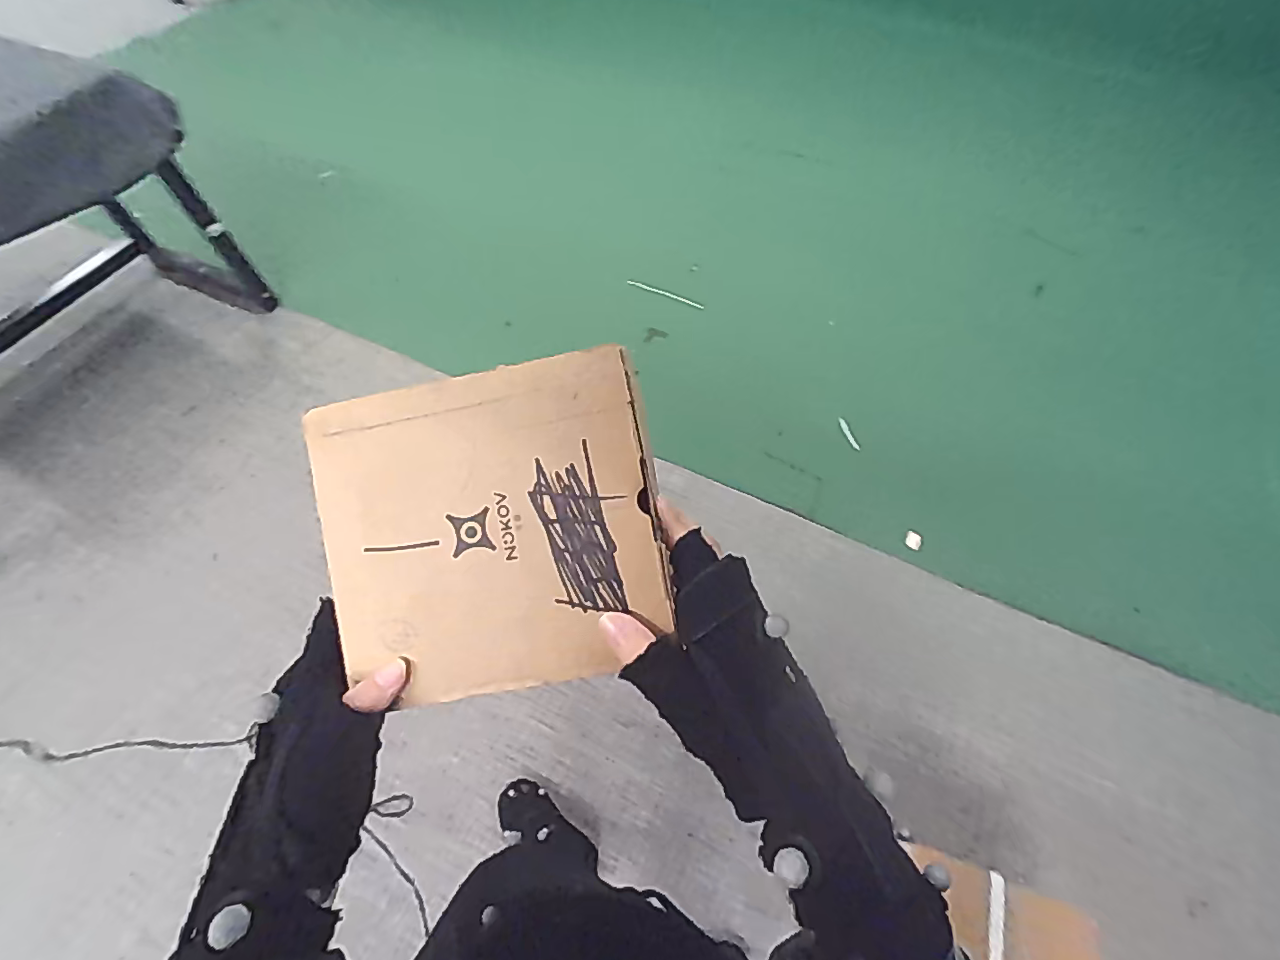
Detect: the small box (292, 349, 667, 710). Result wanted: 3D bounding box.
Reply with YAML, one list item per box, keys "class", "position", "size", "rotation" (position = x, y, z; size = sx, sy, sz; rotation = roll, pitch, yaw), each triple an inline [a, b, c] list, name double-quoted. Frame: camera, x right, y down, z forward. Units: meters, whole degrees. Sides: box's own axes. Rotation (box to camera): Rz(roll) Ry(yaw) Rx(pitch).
- class: "small box"
  position: [-0.082, 0.027, 0.362]
  size: [0.179, 0.176, 0.168]
  rotation: [-12, 88, 3]
